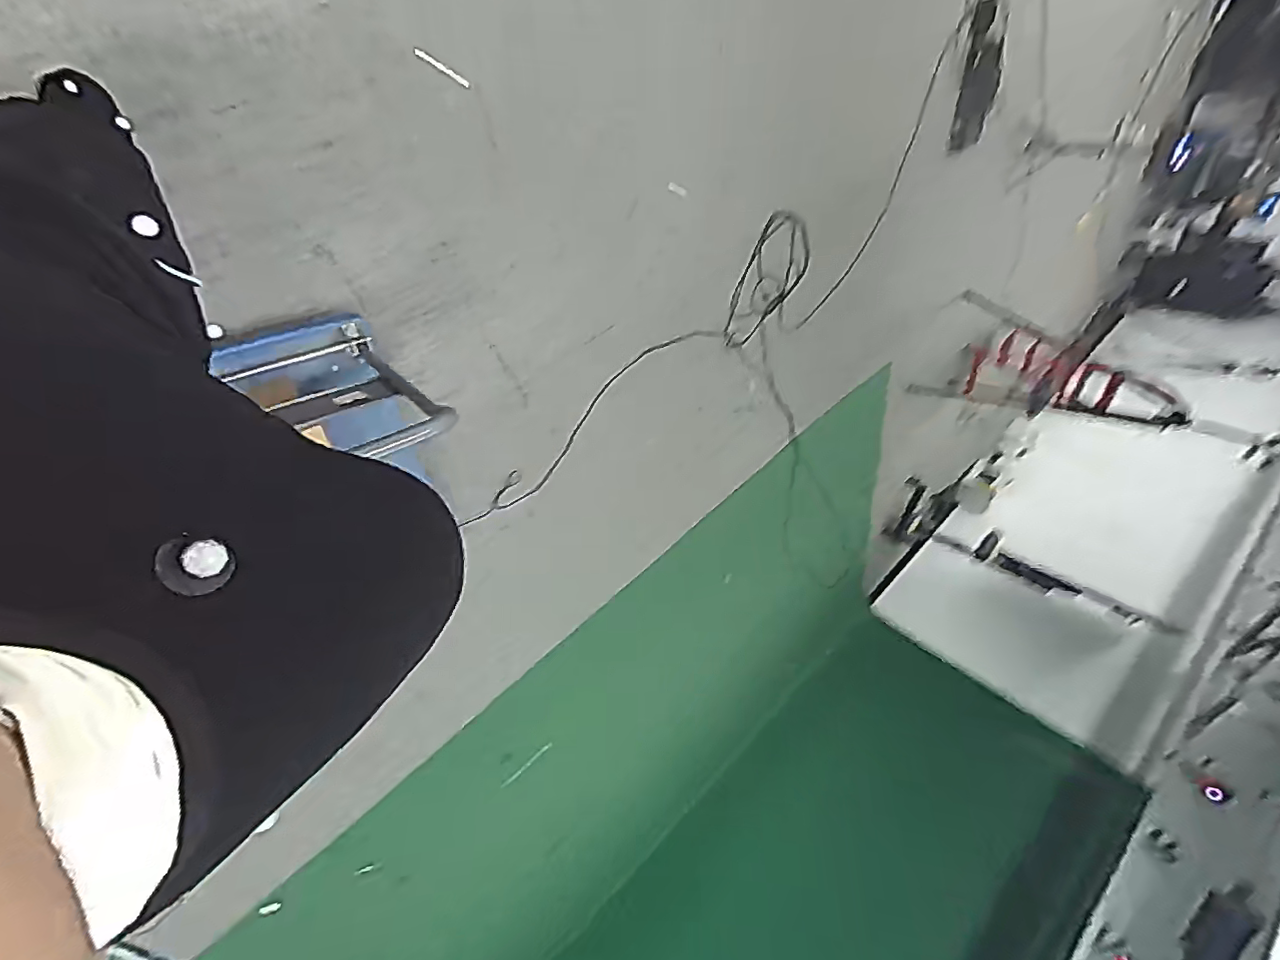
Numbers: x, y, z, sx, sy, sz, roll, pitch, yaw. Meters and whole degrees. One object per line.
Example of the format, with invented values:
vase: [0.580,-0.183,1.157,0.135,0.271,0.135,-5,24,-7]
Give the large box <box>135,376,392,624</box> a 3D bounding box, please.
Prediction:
large box: [-0.838,0.034,1.233,0.320,0.320,0.408,-29,133,-28]
